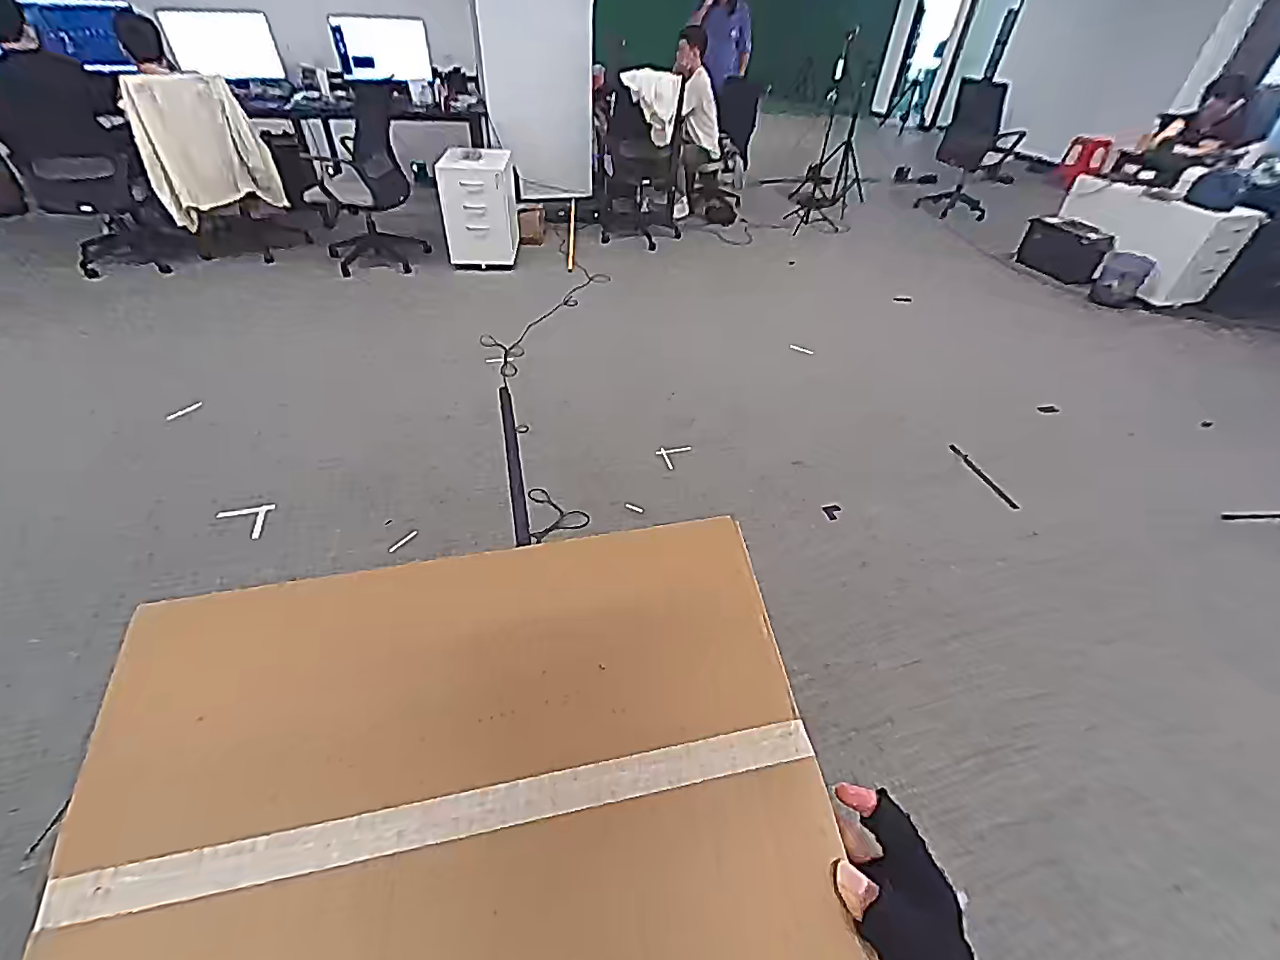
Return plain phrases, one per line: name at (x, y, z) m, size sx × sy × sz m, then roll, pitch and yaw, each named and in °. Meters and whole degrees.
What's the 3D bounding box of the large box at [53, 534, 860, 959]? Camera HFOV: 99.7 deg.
large box at (-0.104, 0.276, 0.430) m, size 0.408 × 0.320 × 0.320 m, roll -8°, pitch 57°, yaw -8°
